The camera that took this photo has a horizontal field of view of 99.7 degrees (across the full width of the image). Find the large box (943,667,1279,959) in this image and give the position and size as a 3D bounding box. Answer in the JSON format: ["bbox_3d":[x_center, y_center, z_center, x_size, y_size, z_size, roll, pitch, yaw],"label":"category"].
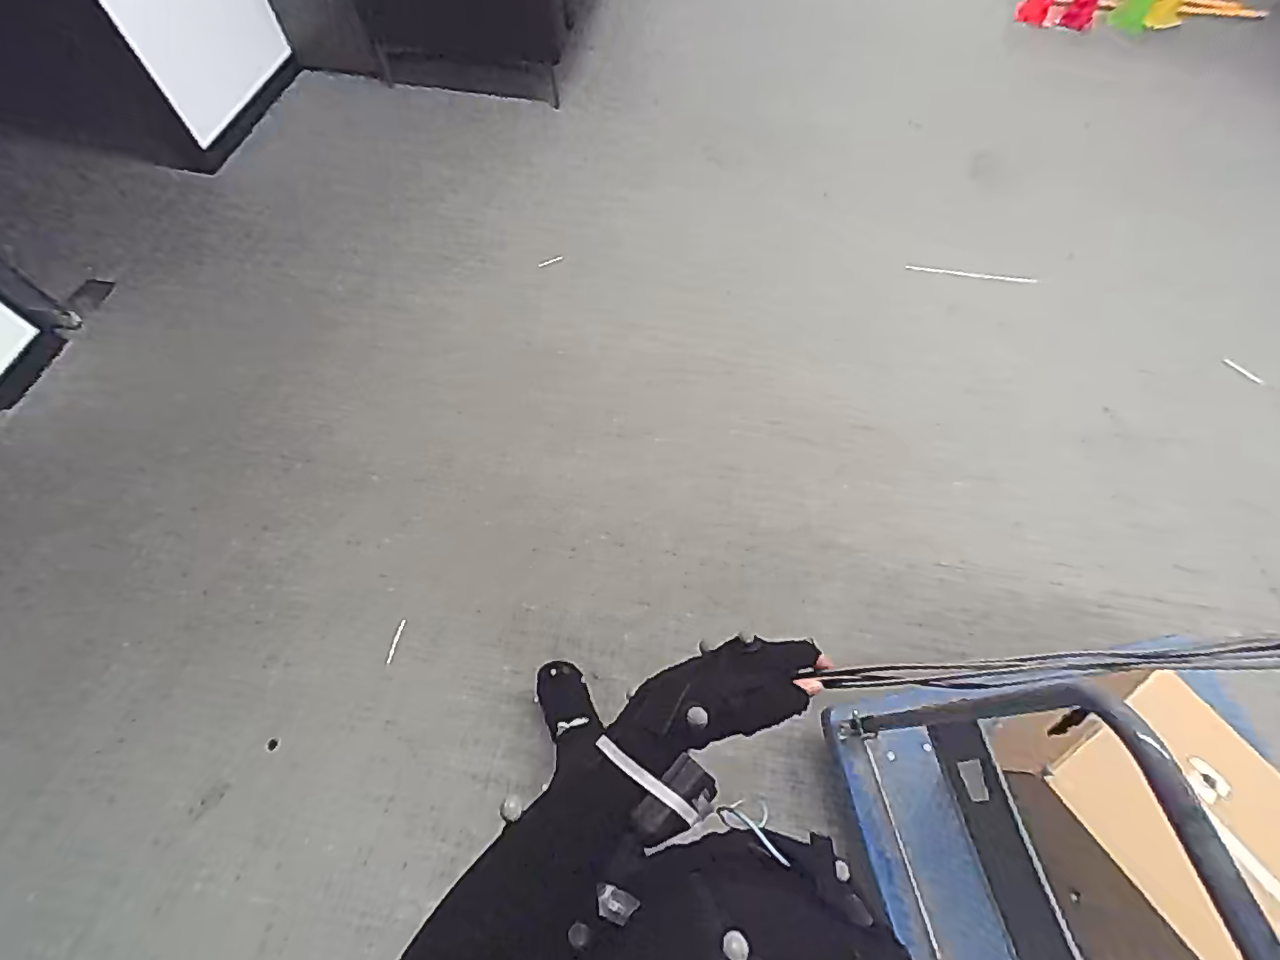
[{"bbox_3d":[0.846,0.605,0.935,0.320,0.320,0.408,-29,65,-16],"label":"large box"}]
